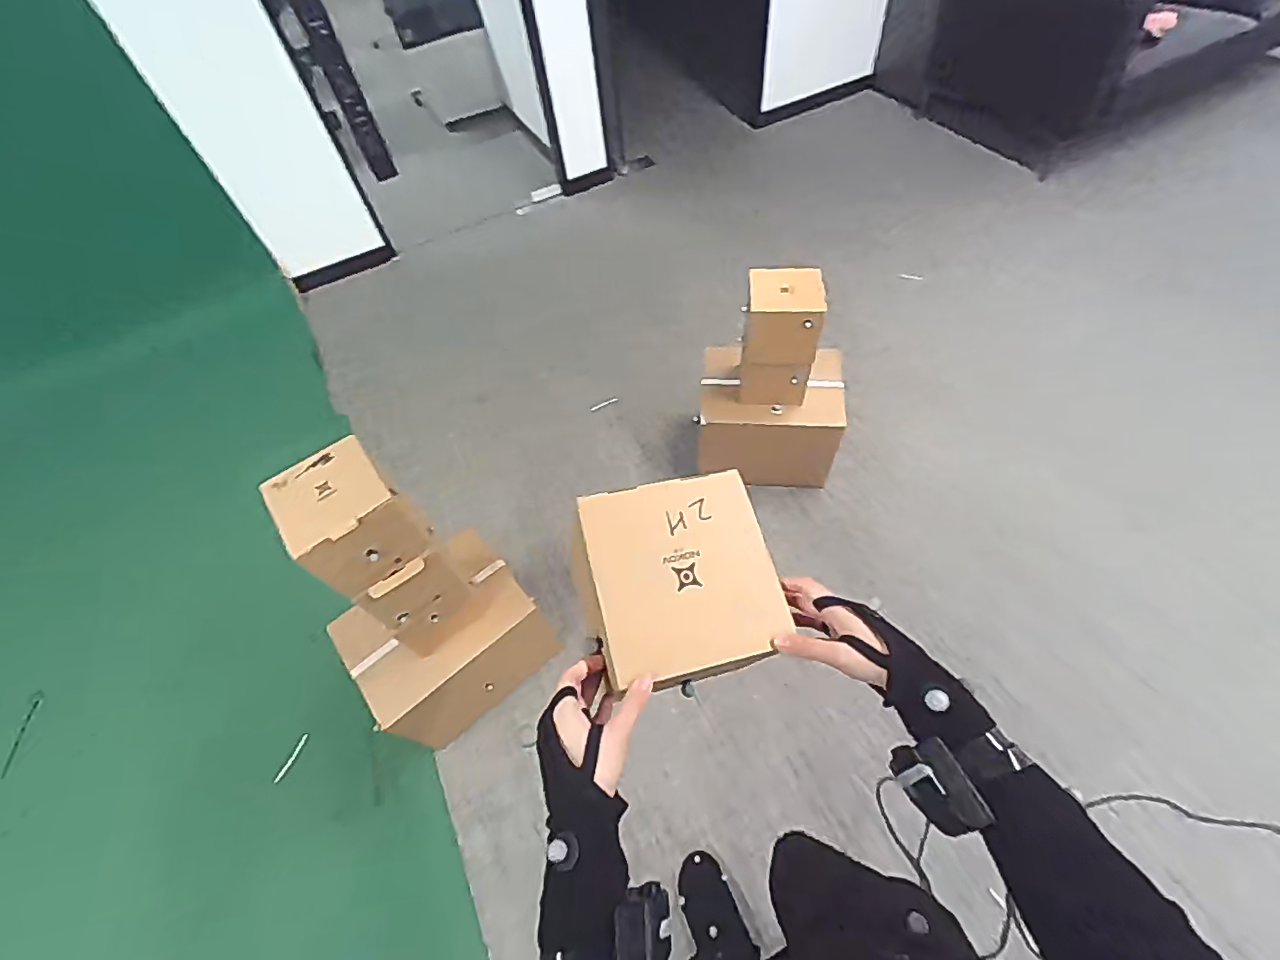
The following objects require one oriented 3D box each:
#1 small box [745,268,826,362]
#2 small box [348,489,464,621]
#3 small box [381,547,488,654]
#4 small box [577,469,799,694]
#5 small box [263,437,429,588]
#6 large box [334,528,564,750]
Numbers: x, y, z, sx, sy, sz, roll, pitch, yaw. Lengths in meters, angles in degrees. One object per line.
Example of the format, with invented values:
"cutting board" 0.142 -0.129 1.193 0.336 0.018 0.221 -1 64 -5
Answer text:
"small box" 0.358 -0.413 1.365 0.179 0.176 0.168 2 56 6
"small box" -0.477 0.156 1.071 0.168 0.176 0.179 -33 60 -16
"small box" -0.468 0.256 1.200 0.179 0.176 0.168 -35 60 -17
"small box" 0.032 0.112 0.554 0.168 0.176 0.179 -9 65 -14
"small box" -0.496 0.065 0.935 0.168 0.176 0.179 -34 61 -17
"large box" -0.465 0.410 1.393 0.408 0.320 0.320 -39 59 -17
